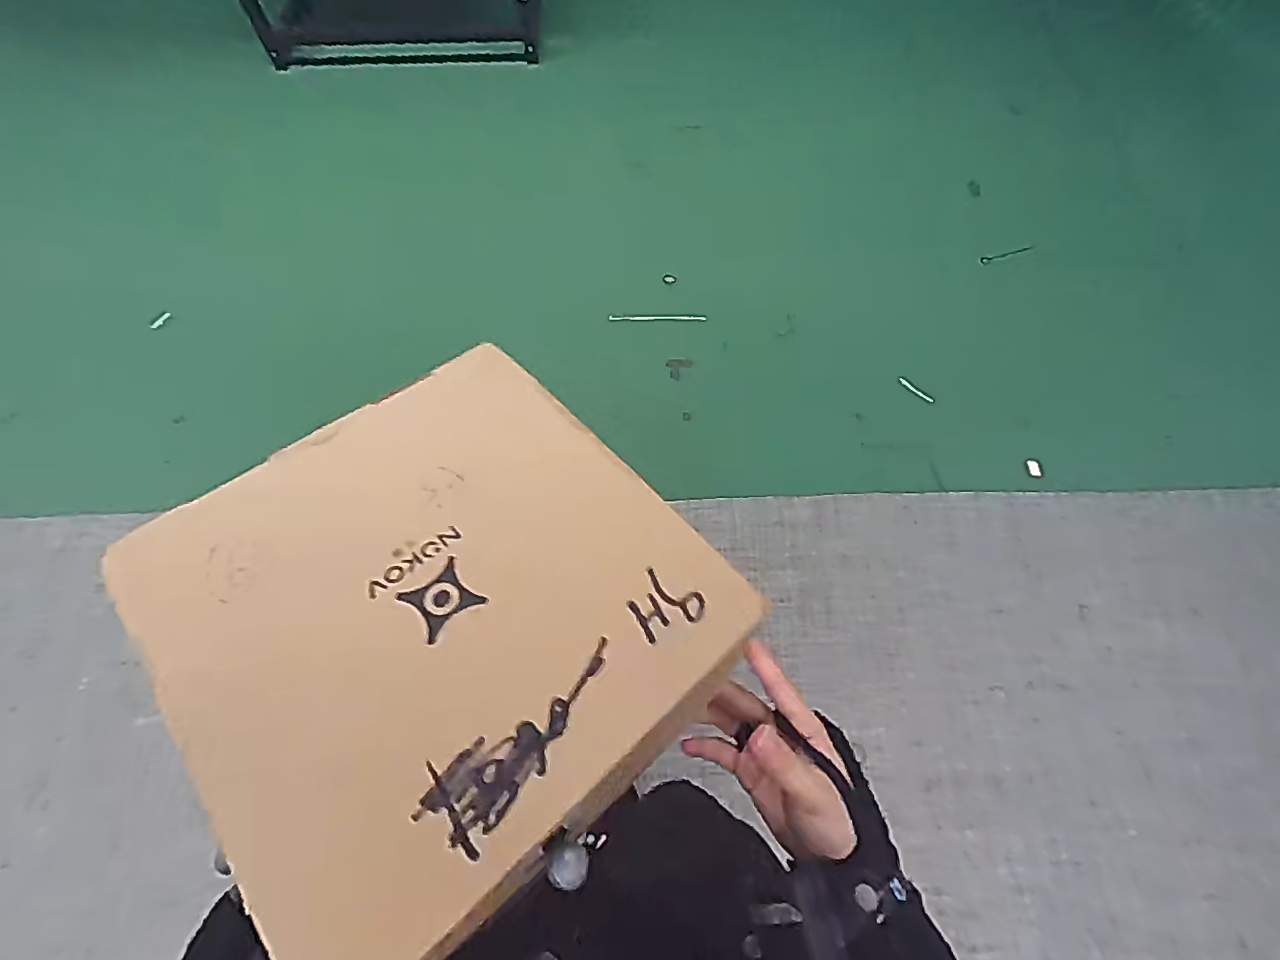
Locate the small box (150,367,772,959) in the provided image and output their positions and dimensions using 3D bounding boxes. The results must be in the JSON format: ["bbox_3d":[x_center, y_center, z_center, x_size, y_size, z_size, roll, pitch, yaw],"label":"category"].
[{"bbox_3d":[-0.068,0.085,0.266,0.168,0.176,0.179,-39,65,-22],"label":"small box"}]
